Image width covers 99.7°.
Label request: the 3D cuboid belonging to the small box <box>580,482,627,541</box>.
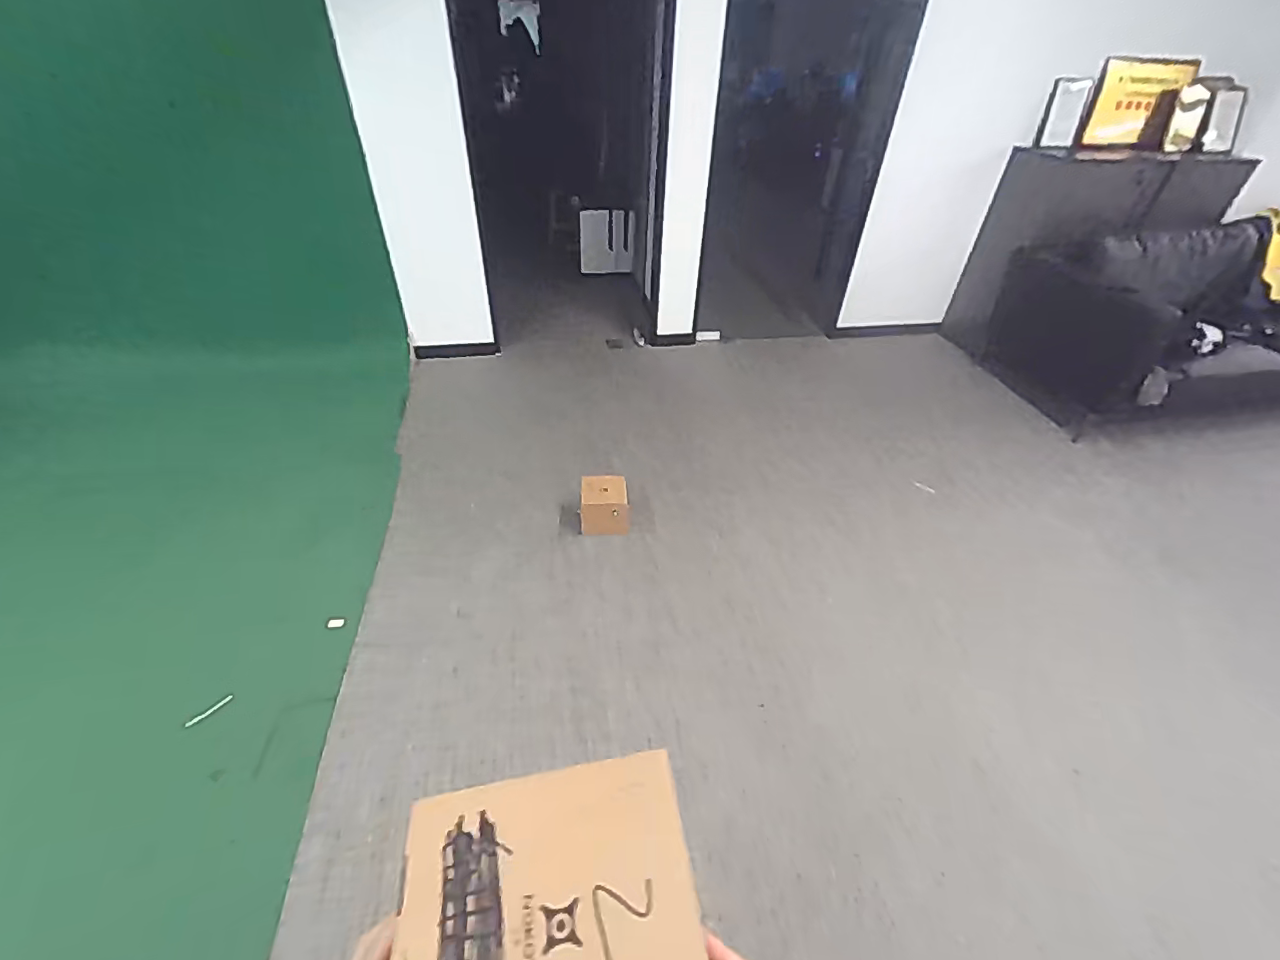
[{"bbox_3d":[-0.143,0.125,2.115,0.179,0.176,0.168,-1,40,-5],"label":"small box"}]
